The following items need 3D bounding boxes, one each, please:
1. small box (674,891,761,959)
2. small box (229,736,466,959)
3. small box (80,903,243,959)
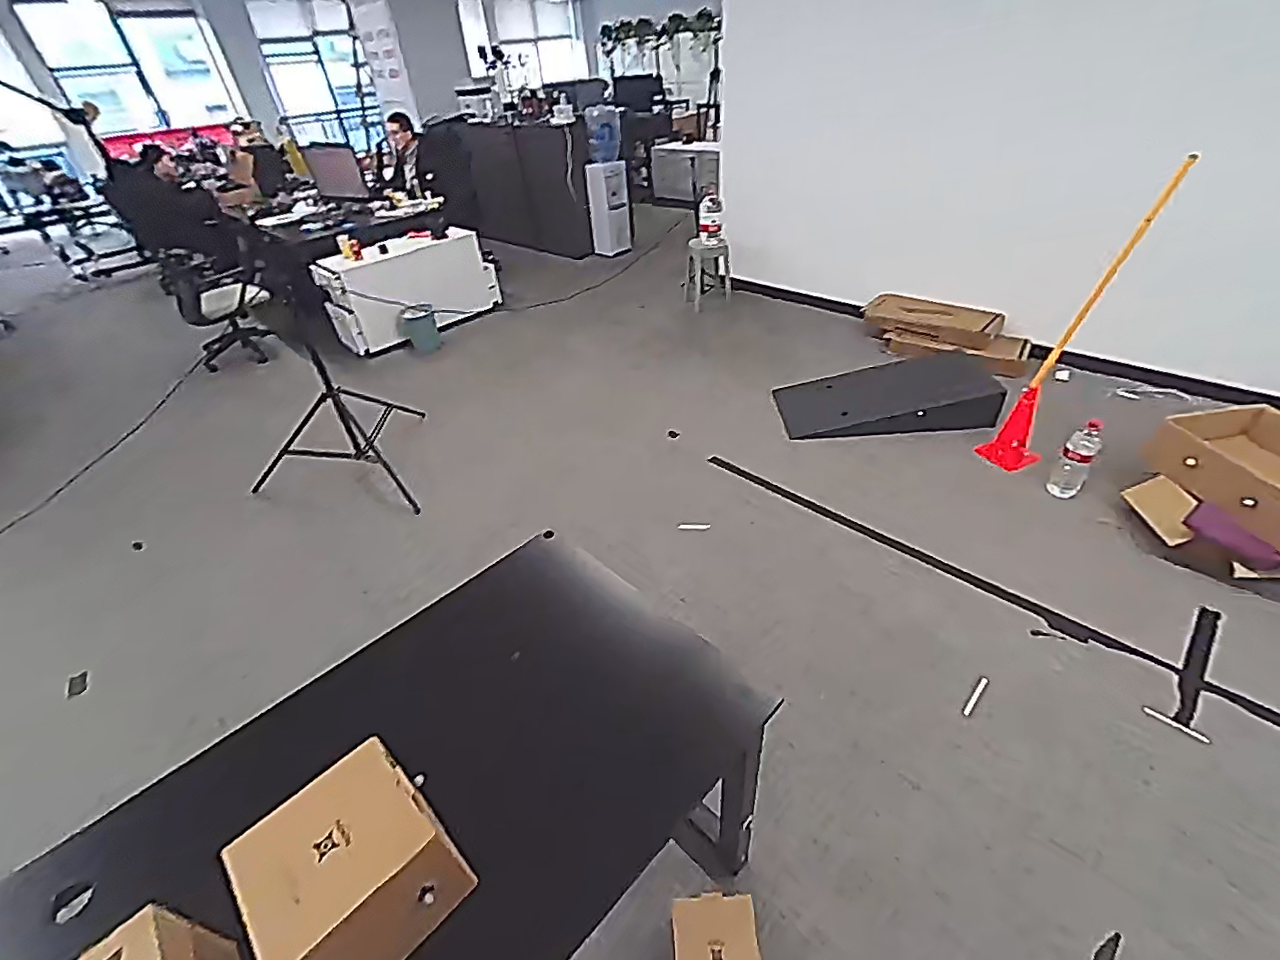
[{"bbox_3d":[0.155,0.971,1.101,0.168,0.176,0.179,-4,38,2],"label":"small box"},{"bbox_3d":[-0.326,0.454,0.637,0.168,0.176,0.179,28,50,36],"label":"small box"},{"bbox_3d":[-0.485,0.566,0.510,0.168,0.176,0.179,-34,47,-31],"label":"small box"}]
